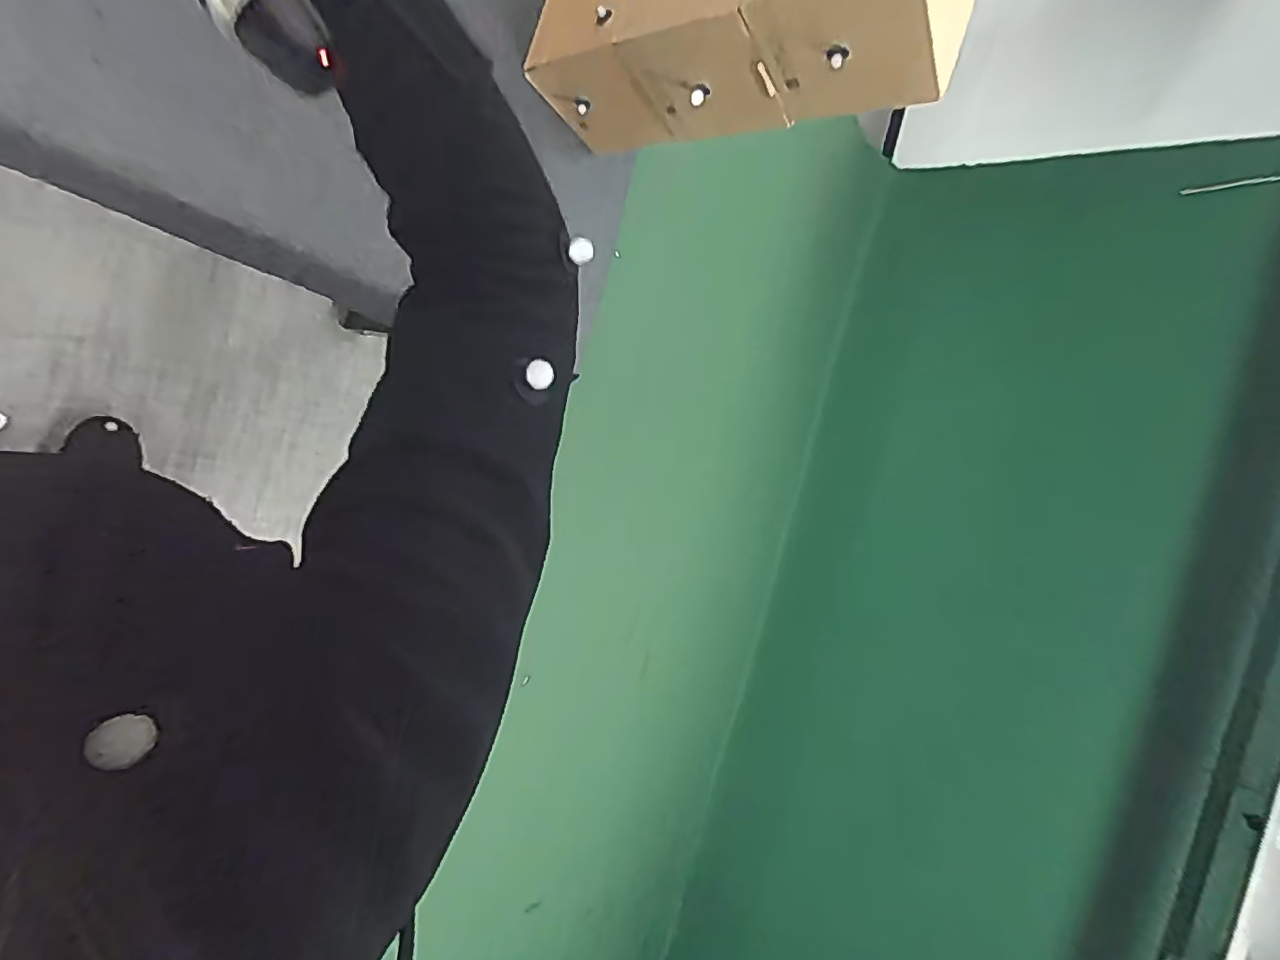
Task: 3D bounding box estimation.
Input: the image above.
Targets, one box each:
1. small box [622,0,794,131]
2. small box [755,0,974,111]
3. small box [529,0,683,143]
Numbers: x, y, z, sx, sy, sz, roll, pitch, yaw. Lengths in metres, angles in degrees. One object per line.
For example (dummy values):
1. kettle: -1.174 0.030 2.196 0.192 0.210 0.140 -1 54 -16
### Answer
1. small box: 0.102 -0.551 0.640 0.168 0.176 0.179 18 91 -56
2. small box: 0.228 -0.510 0.540 0.168 0.176 0.179 15 92 -56
3. small box: -0.023 -0.597 0.735 0.168 0.176 0.179 18 91 -55
